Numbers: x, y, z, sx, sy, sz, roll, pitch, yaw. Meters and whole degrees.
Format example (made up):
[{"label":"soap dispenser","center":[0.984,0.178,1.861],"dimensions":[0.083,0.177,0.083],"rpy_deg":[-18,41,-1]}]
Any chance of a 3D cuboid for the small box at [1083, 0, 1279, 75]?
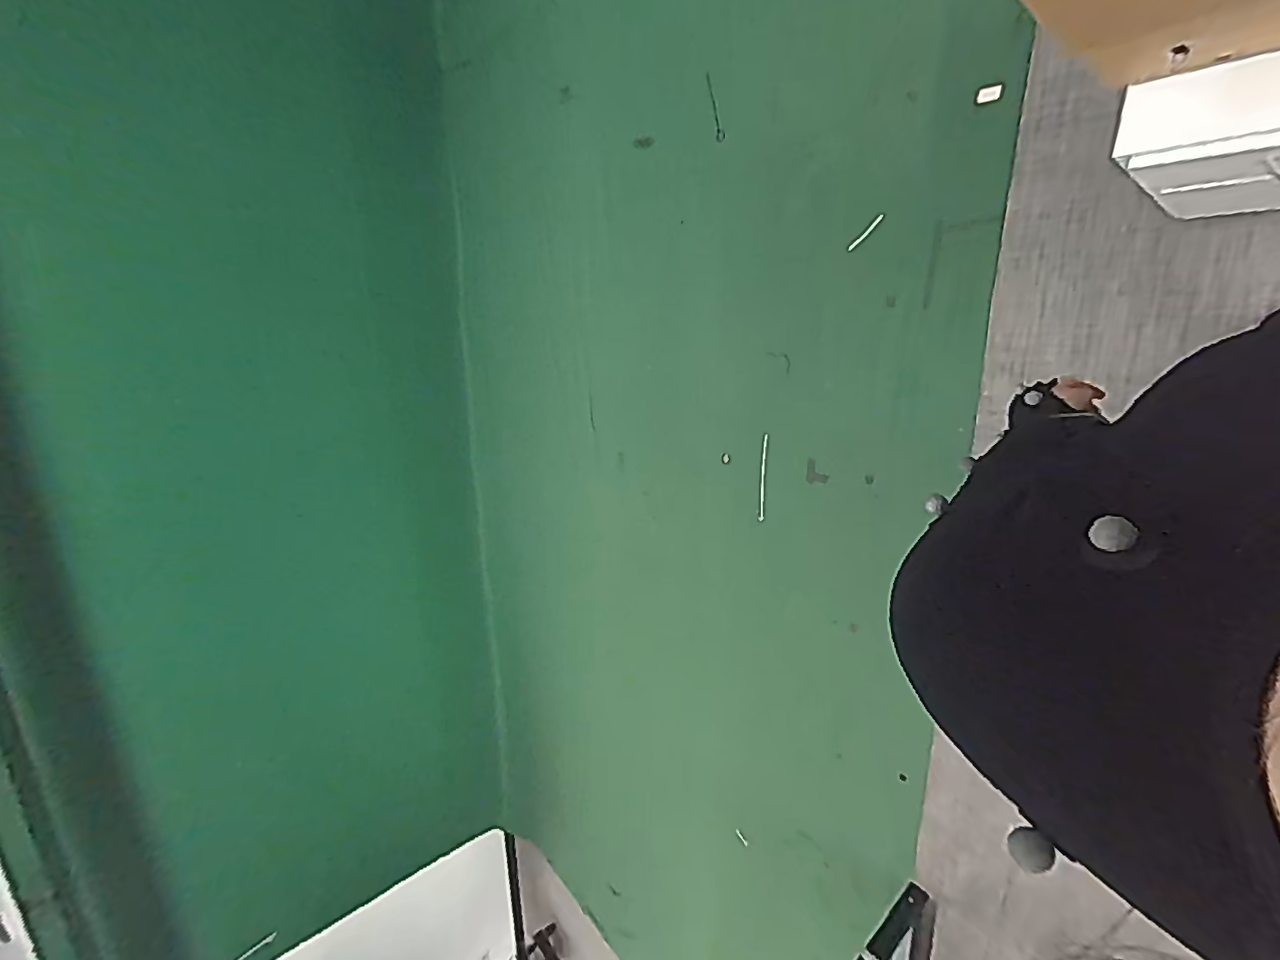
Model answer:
[{"label":"small box","center":[0.570,-0.538,0.537],"dimensions":[0.168,0.176,0.179],"rpy_deg":[17,113,45]}]
